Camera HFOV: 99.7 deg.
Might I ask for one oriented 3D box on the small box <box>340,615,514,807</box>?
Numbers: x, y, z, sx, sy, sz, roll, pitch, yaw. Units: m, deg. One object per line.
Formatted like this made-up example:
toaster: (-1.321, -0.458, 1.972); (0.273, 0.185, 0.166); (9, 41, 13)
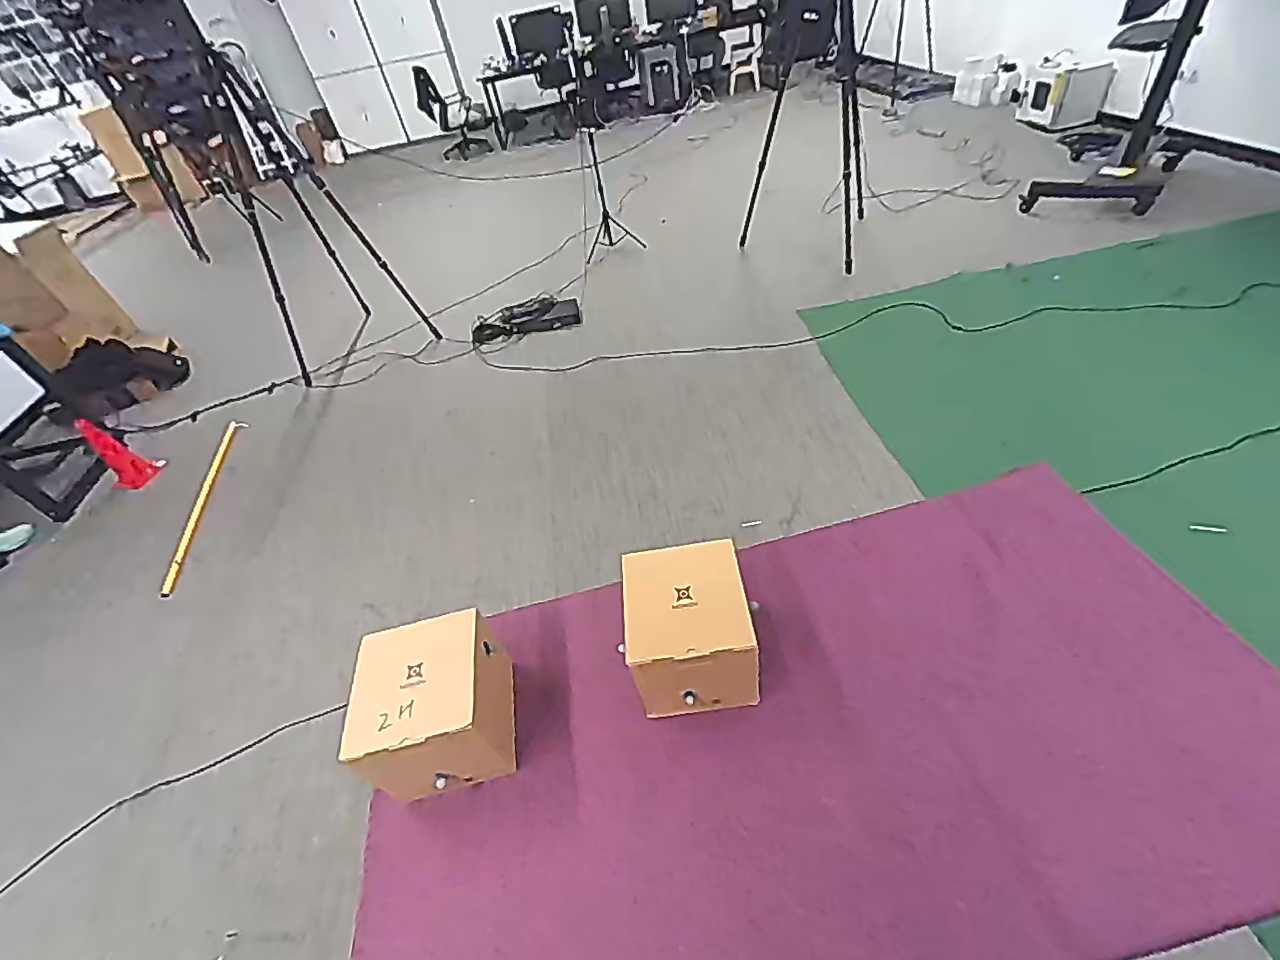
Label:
small box: (-0.282, 0.325, 0.762); (0.168, 0.176, 0.179); (-14, 43, -1)

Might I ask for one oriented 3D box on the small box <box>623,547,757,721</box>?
small box: (0.071, 0.225, 0.787); (0.168, 0.176, 0.179); (-10, 44, 4)
